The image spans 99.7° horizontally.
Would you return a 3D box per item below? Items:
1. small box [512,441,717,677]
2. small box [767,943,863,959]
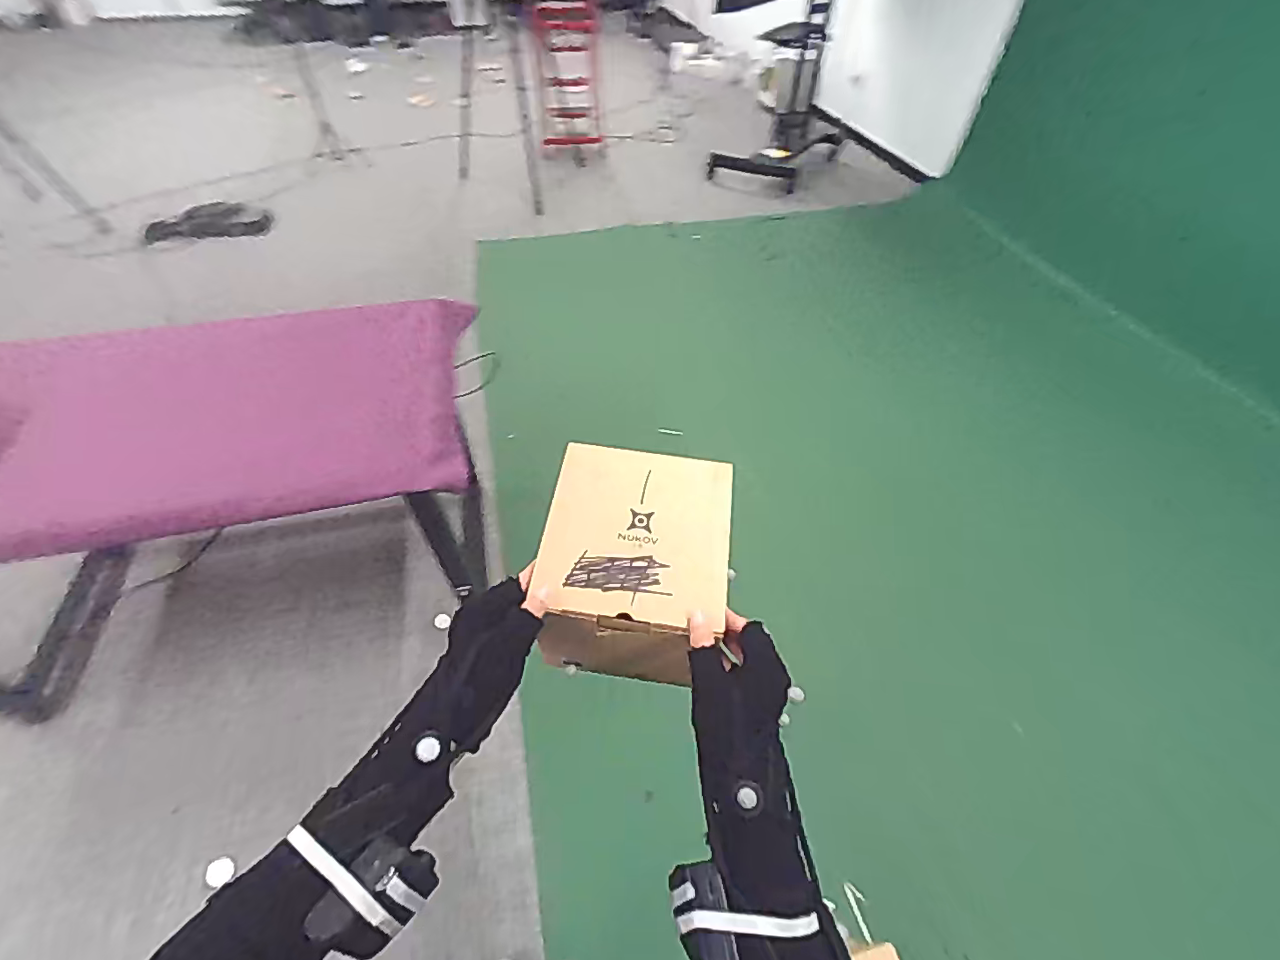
[{"bbox_3d":[-0.018,0.087,0.554,0.168,0.176,0.179,8,54,2],"label":"small box"},{"bbox_3d":[0.331,0.980,0.998,0.179,0.176,0.168,-9,50,-7],"label":"small box"}]
